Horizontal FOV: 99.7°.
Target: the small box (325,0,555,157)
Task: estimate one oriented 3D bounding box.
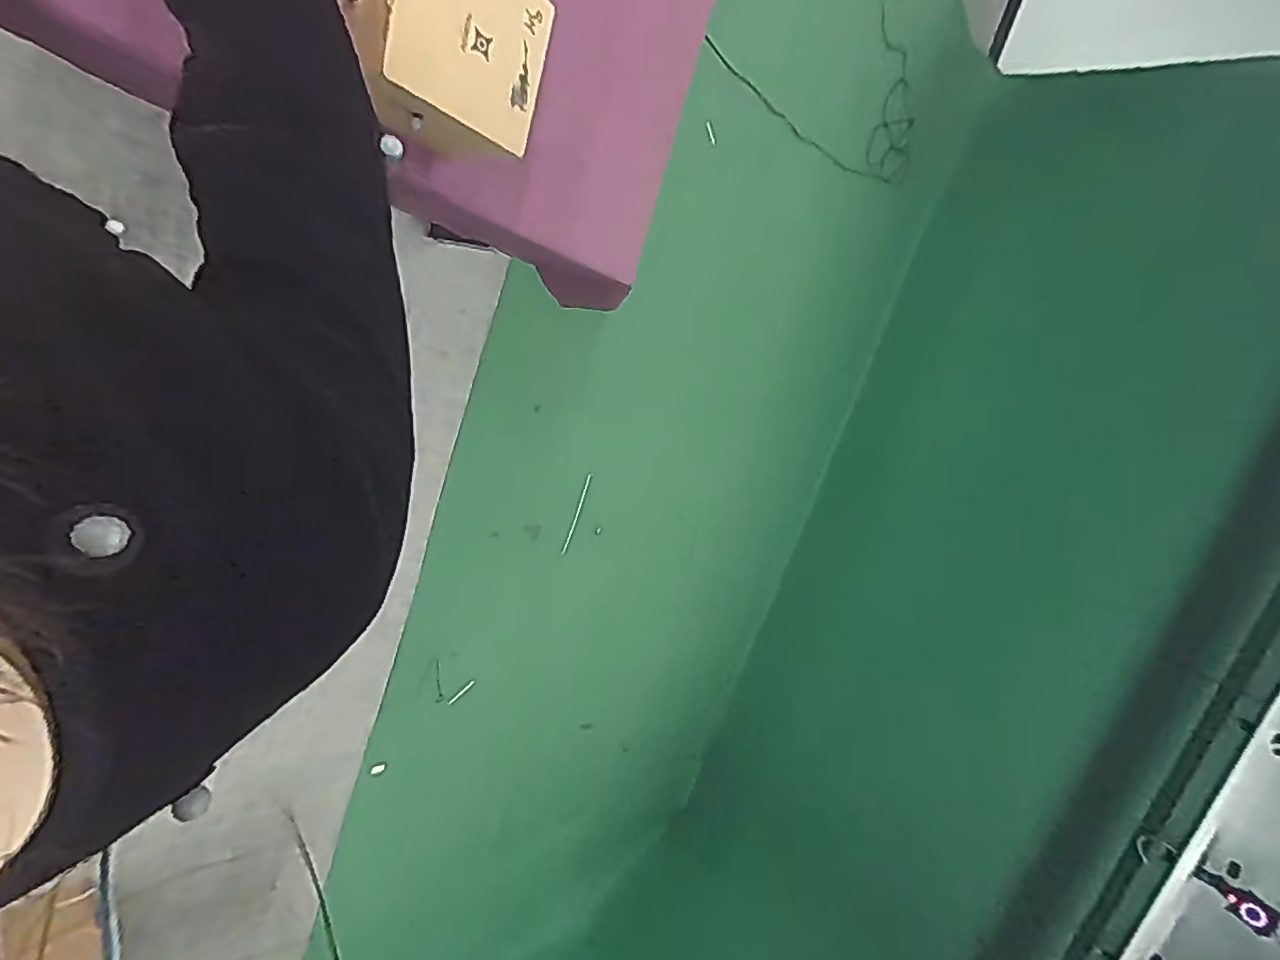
[{"bbox_3d":[-0.230,-0.488,0.613,0.179,0.176,0.168,2,109,-50],"label":"small box"}]
